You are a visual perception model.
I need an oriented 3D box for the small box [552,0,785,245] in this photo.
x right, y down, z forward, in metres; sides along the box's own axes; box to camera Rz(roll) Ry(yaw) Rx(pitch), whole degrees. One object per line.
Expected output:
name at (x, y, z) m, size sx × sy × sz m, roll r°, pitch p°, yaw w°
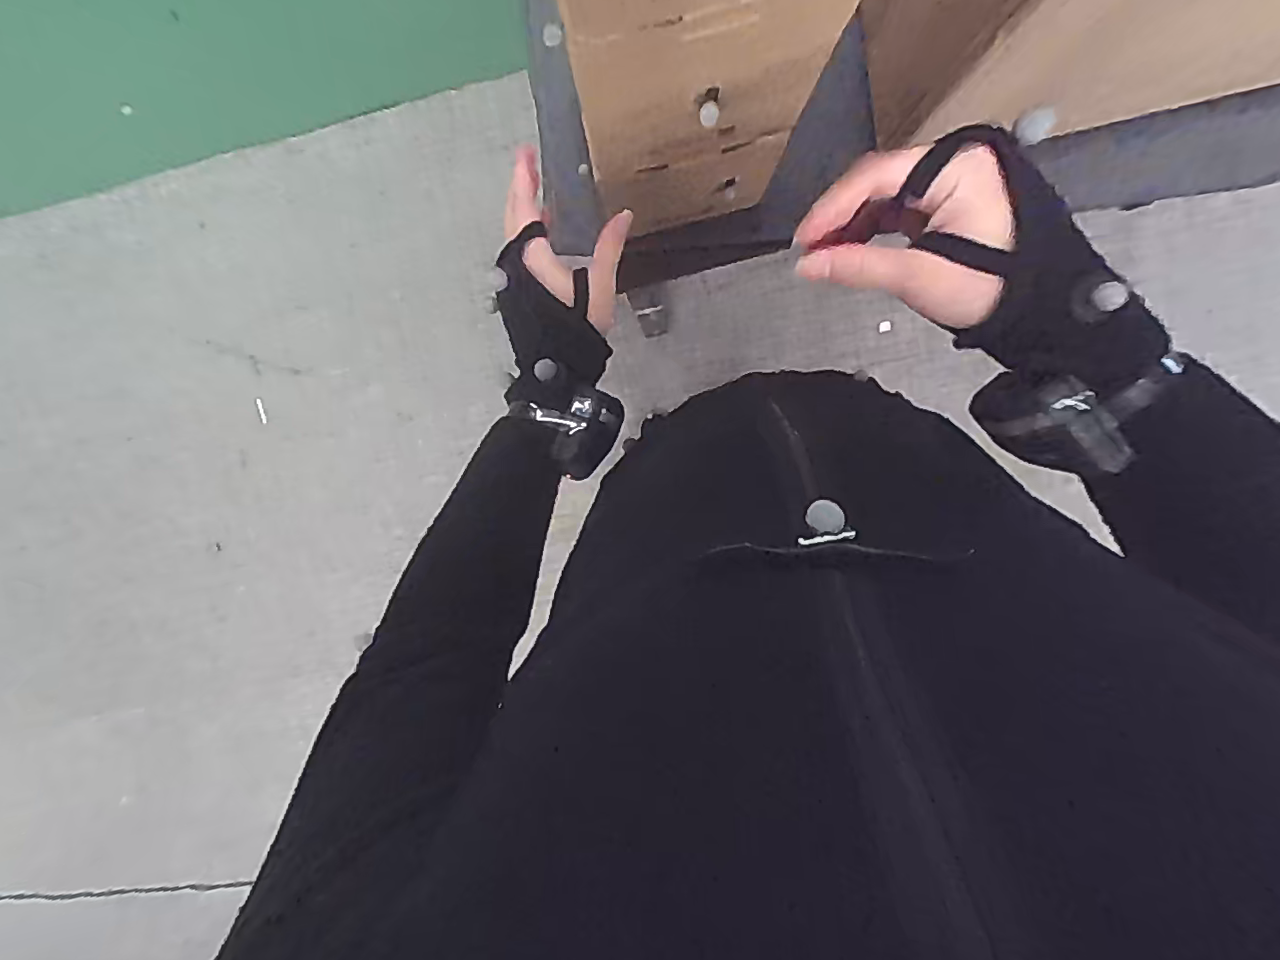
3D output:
small box at (0.027, -0.351, 0.529) m, size 0.168 × 0.176 × 0.179 m, roll -14°, pitch 95°, yaw 3°

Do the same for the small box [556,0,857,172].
small box at (0.026, -0.337, 0.365) m, size 0.168 × 0.176 × 0.179 m, roll -13°, pitch 97°, yaw 3°

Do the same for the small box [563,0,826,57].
small box at (0.023, -0.318, 0.201) m, size 0.168 × 0.176 × 0.179 m, roll -14°, pitch 97°, yaw 3°
